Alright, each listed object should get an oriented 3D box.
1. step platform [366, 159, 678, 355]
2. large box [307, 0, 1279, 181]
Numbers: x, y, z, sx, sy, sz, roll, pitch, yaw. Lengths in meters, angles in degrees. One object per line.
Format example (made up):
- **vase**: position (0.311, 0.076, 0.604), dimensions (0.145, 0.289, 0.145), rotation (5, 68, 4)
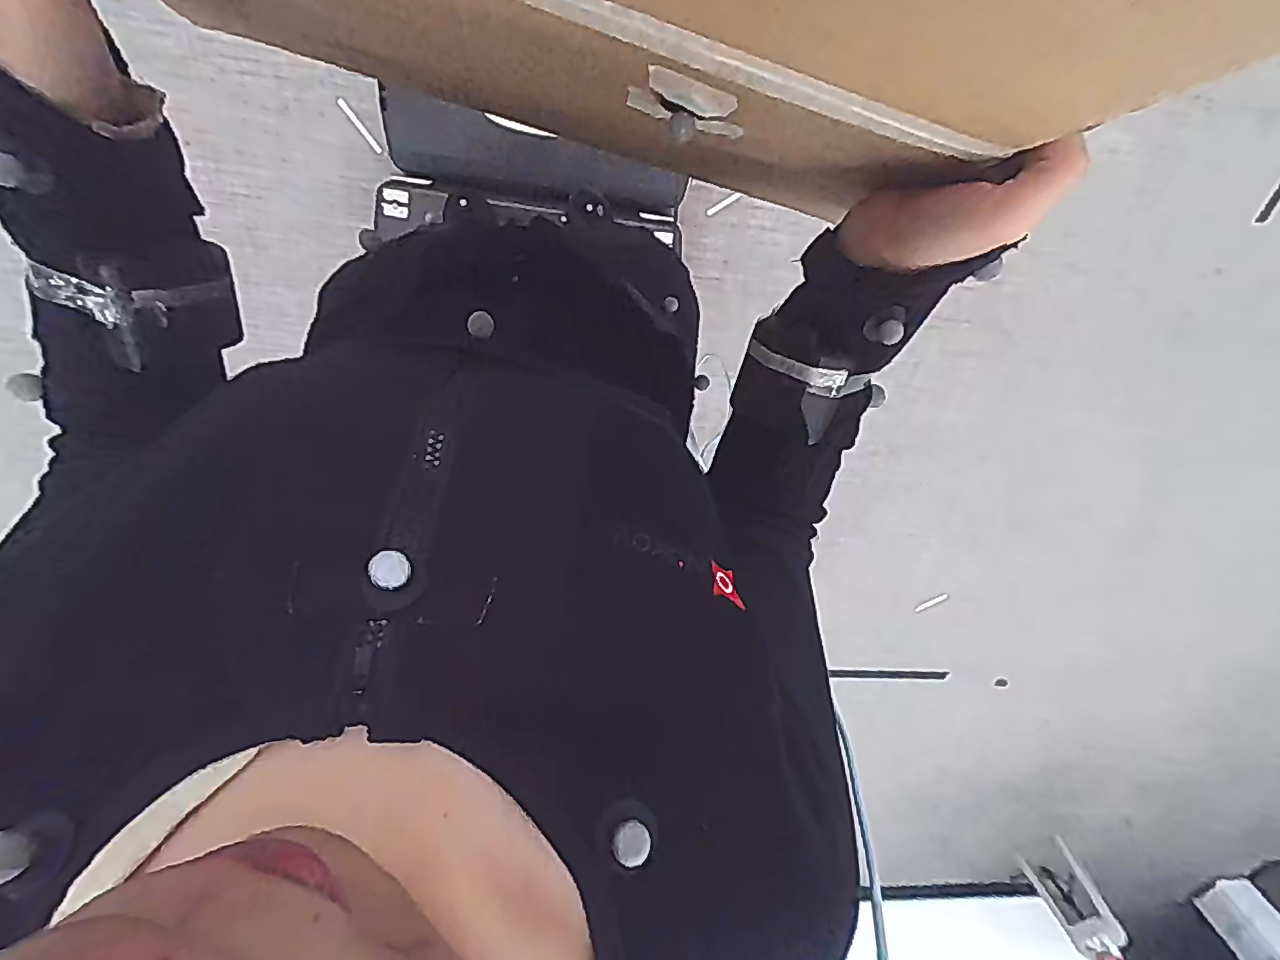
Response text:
- **step platform**: position (-0.257, -0.504, 1.257), dimensions (0.684, 0.204, 0.286), rotation (10, 119, -9)
- **large box**: position (0.017, -0.329, 0.131), dimensions (0.408, 0.320, 0.320), rotation (10, 105, -11)
